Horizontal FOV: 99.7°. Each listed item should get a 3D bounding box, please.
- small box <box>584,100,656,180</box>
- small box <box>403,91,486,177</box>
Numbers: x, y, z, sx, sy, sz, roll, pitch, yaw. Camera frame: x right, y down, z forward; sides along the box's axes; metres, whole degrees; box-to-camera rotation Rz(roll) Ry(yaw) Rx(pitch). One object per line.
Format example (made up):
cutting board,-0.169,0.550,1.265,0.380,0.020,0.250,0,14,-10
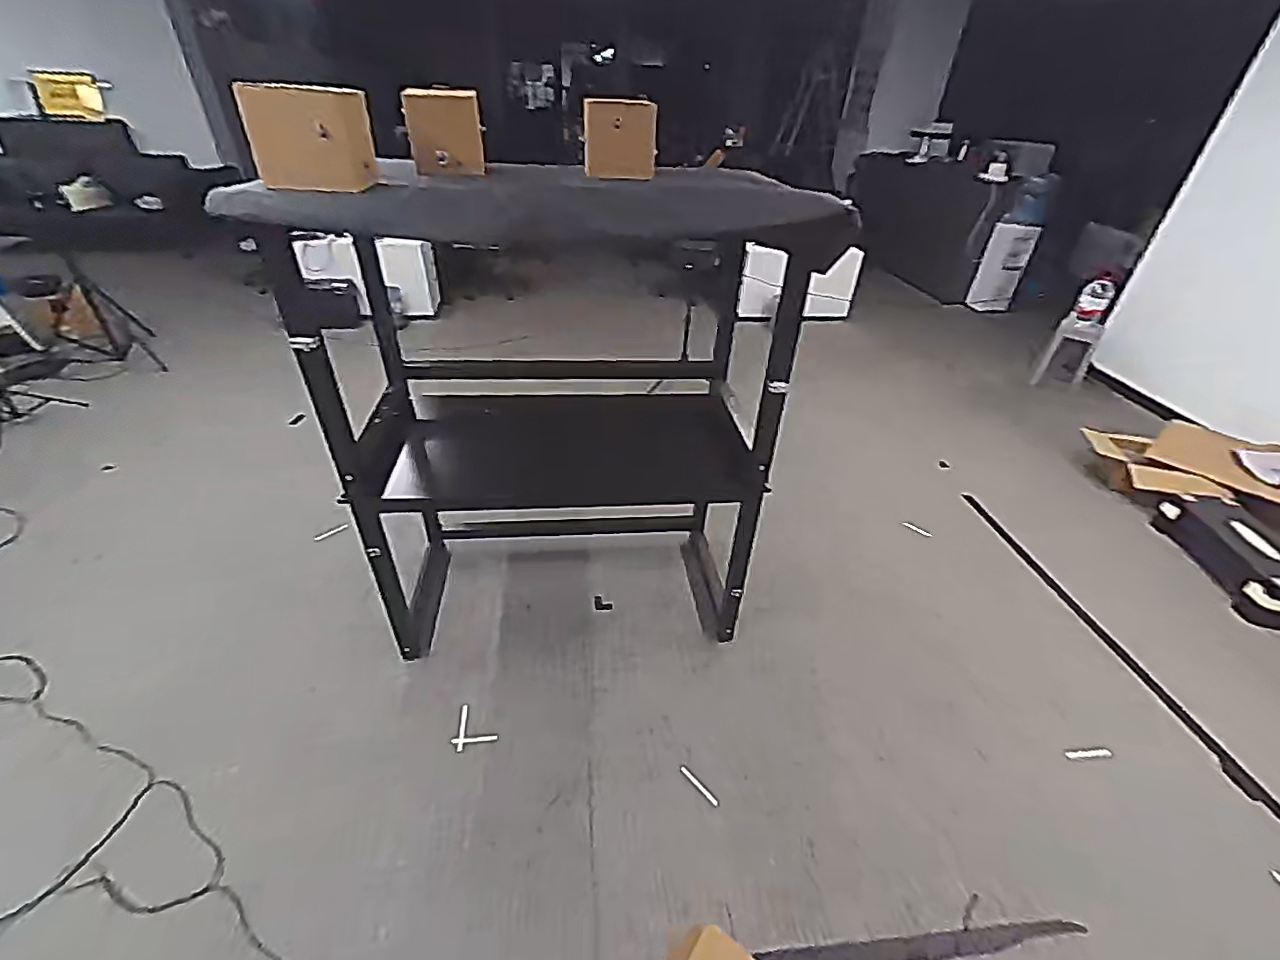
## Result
small box,-0.056,-0.898,1.426,0.179,0.176,0.168,-2,37,-7
small box,-0.483,-0.869,1.359,0.168,0.176,0.179,-7,37,-11
